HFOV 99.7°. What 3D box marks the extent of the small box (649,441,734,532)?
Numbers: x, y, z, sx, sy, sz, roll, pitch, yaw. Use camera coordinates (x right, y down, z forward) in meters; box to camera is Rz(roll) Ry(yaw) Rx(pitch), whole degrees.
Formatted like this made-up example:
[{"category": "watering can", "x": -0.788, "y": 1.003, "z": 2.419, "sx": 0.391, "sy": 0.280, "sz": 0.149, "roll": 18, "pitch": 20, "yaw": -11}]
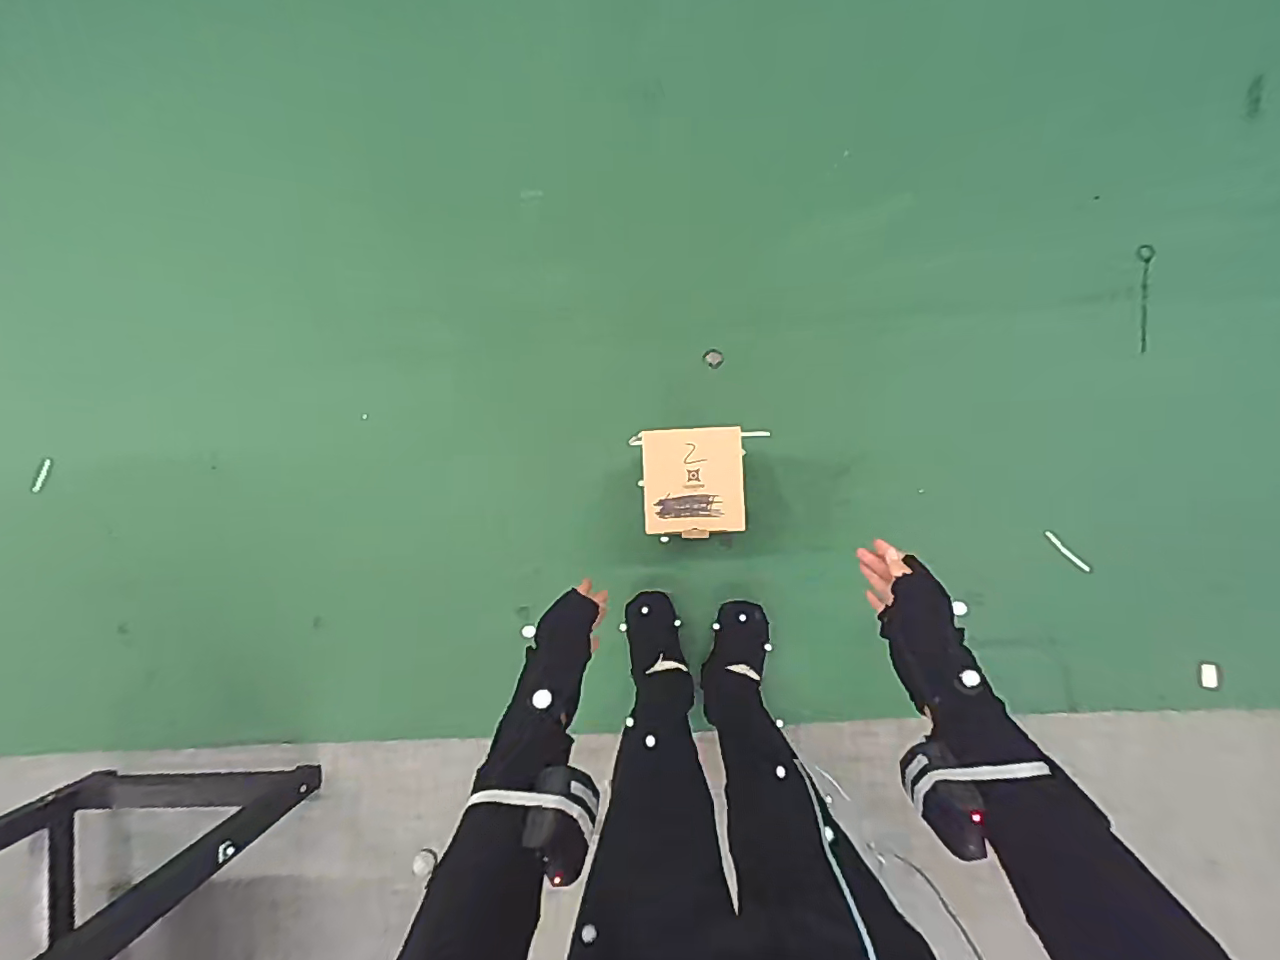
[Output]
[{"category": "small box", "x": 0.108, "y": 0.014, "z": 1.135, "sx": 0.168, "sy": 0.176, "sz": 0.179, "roll": -2, "pitch": 88, "yaw": 4}]
